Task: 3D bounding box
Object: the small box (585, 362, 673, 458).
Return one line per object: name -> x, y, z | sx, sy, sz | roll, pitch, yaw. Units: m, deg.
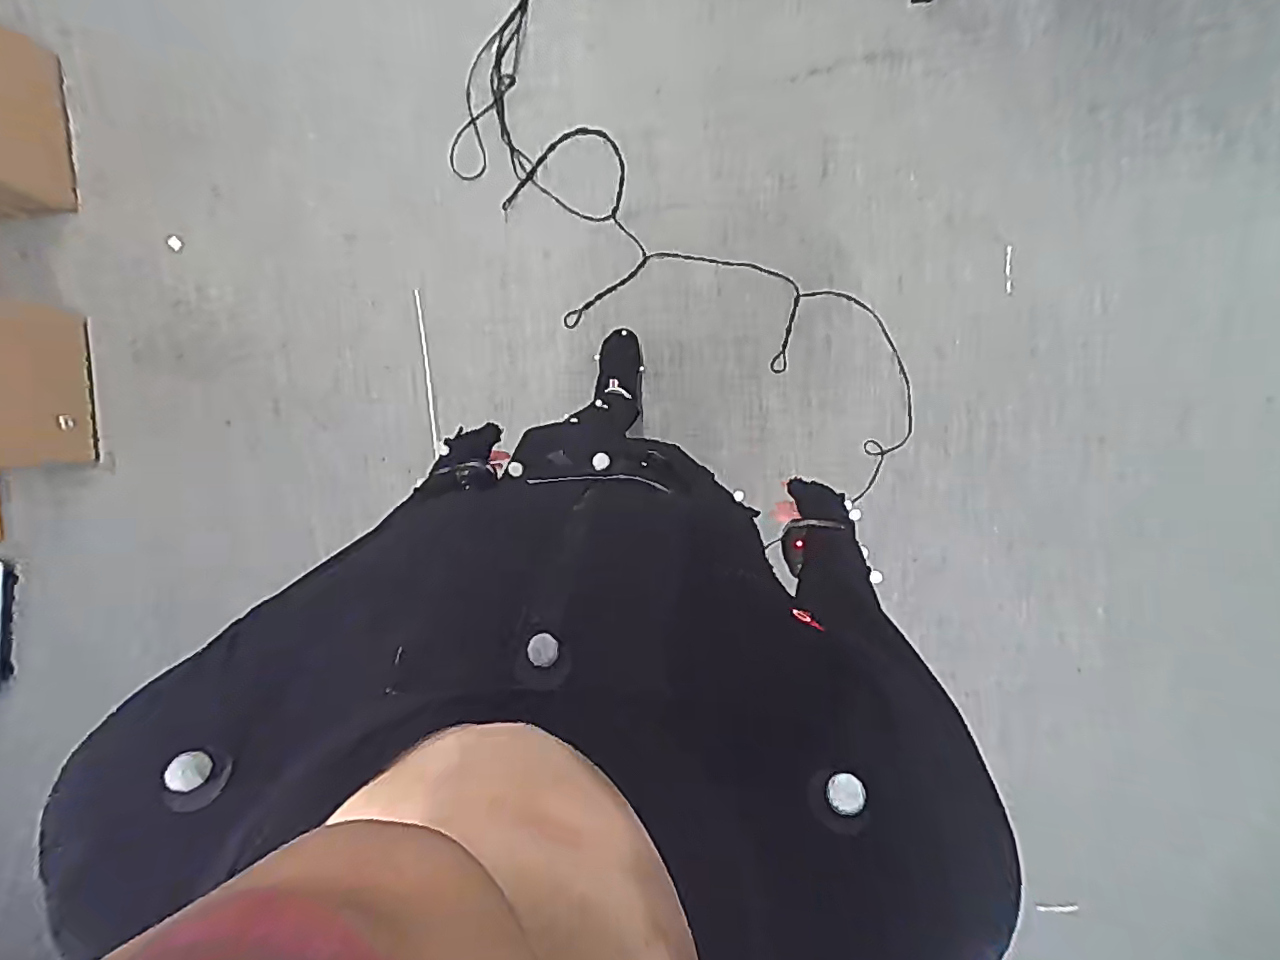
small box -> -0.032, -0.184, 1.388 | 0.168, 0.176, 0.179 | 21, 107, -12
